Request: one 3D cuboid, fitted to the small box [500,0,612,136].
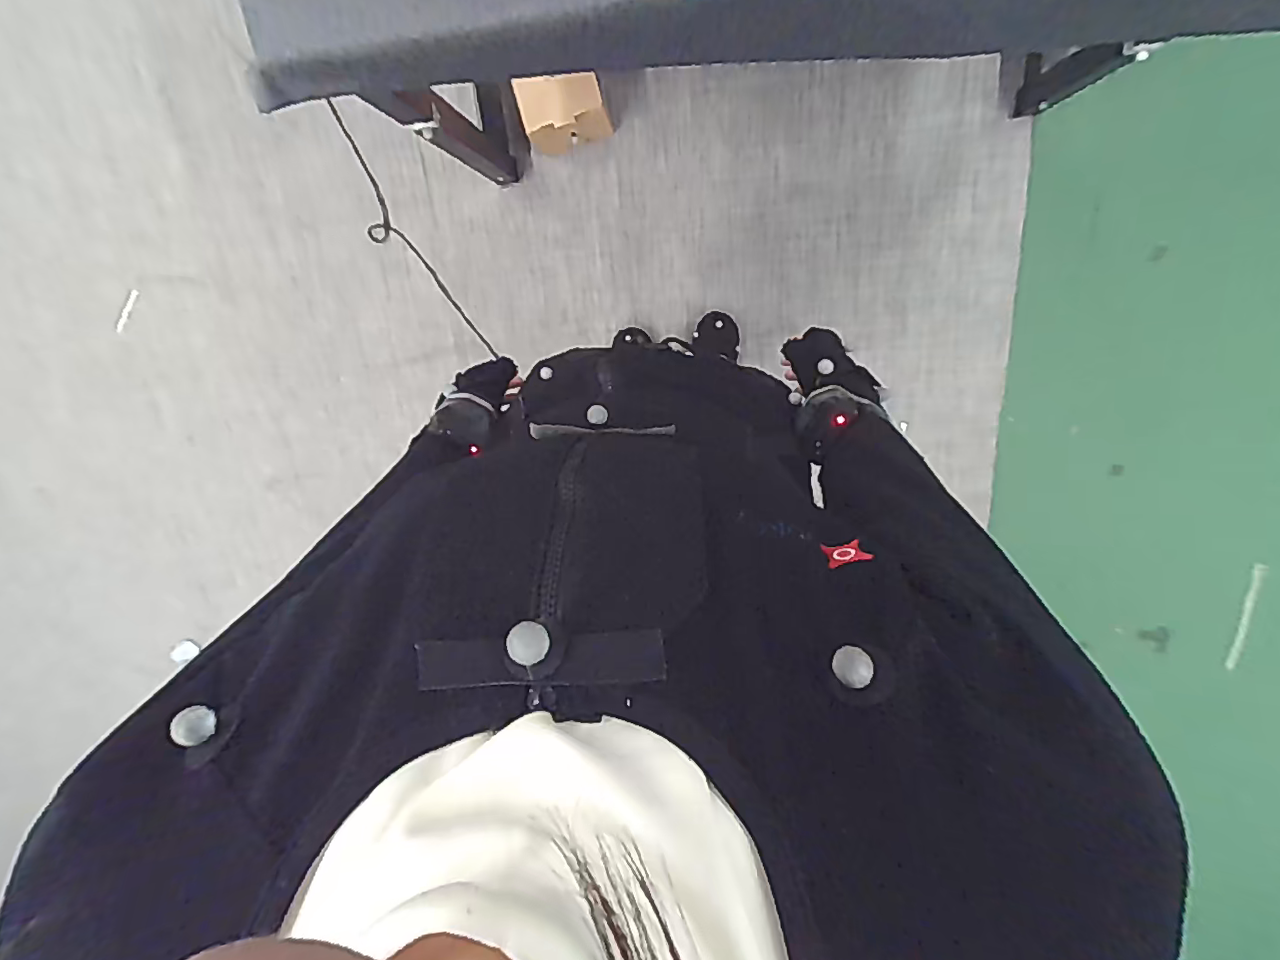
[{"bbox_3d":[-0.163,-0.839,1.117,0.168,0.176,0.179,-12,108,8],"label":"small box"}]
